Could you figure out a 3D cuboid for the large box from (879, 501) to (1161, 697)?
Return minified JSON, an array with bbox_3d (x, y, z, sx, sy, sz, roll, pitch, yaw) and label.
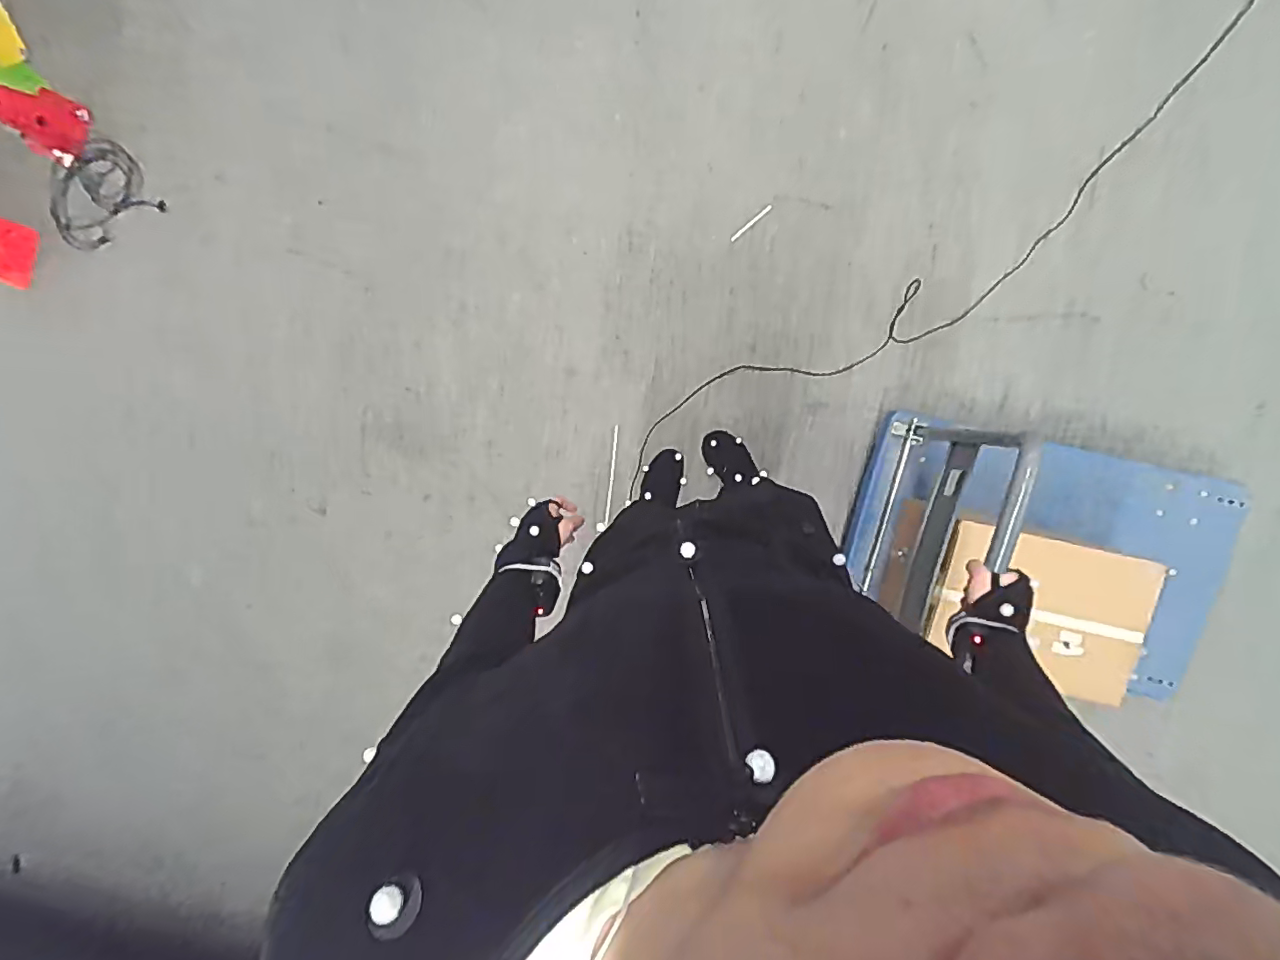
[{"bbox_3d":[0.838,0.249,1.262,0.408,0.320,0.320,12,98,5],"label":"large box"}]
